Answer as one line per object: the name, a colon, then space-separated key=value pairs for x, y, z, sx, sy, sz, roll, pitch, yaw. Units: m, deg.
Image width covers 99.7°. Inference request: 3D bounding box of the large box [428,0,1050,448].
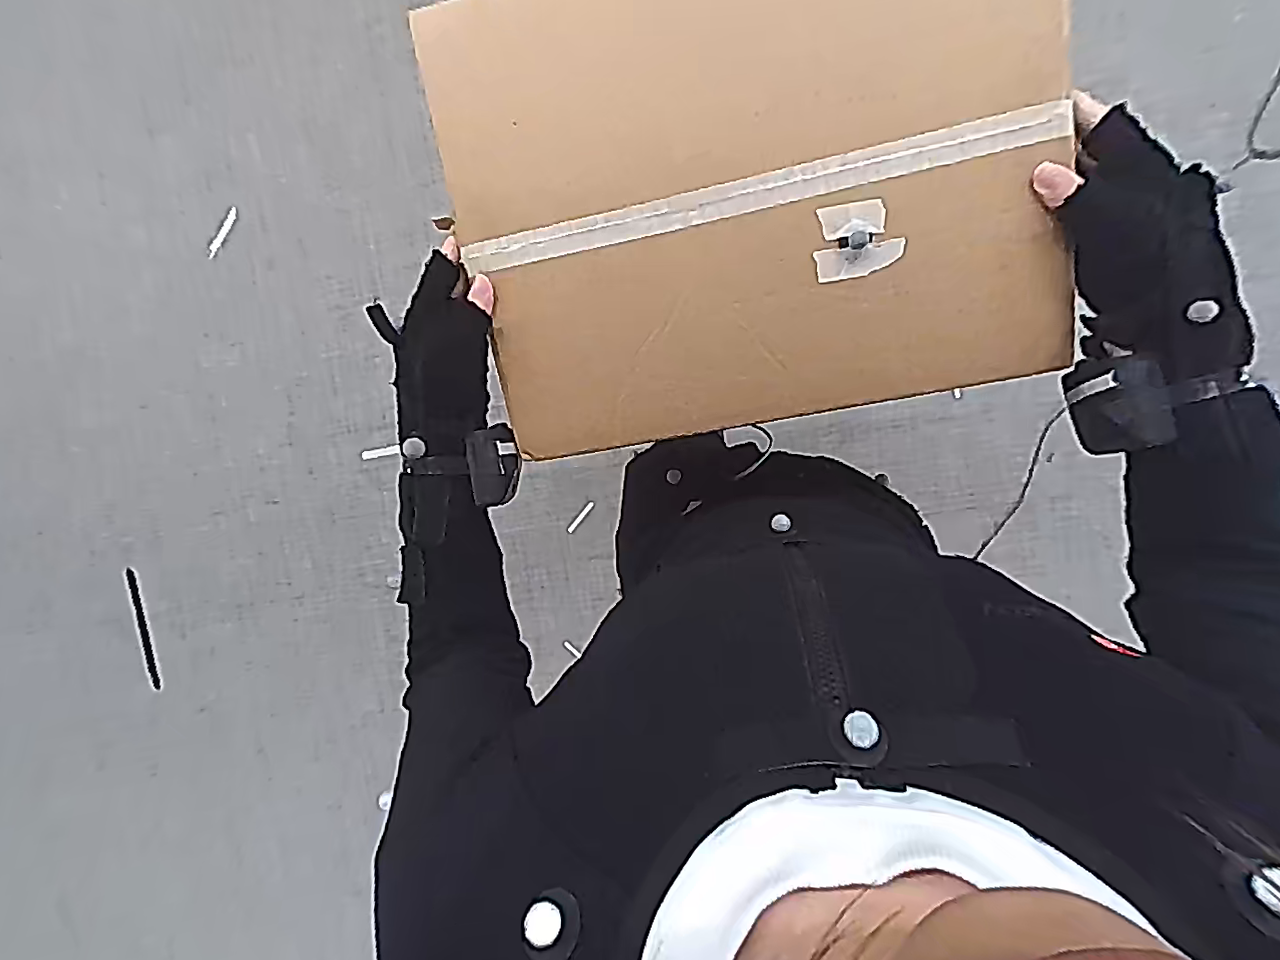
large box: x=0.084 y=-0.242 z=0.527 sx=0.408 sy=0.320 sz=0.320 roll=-10 pitch=104 yaw=7
